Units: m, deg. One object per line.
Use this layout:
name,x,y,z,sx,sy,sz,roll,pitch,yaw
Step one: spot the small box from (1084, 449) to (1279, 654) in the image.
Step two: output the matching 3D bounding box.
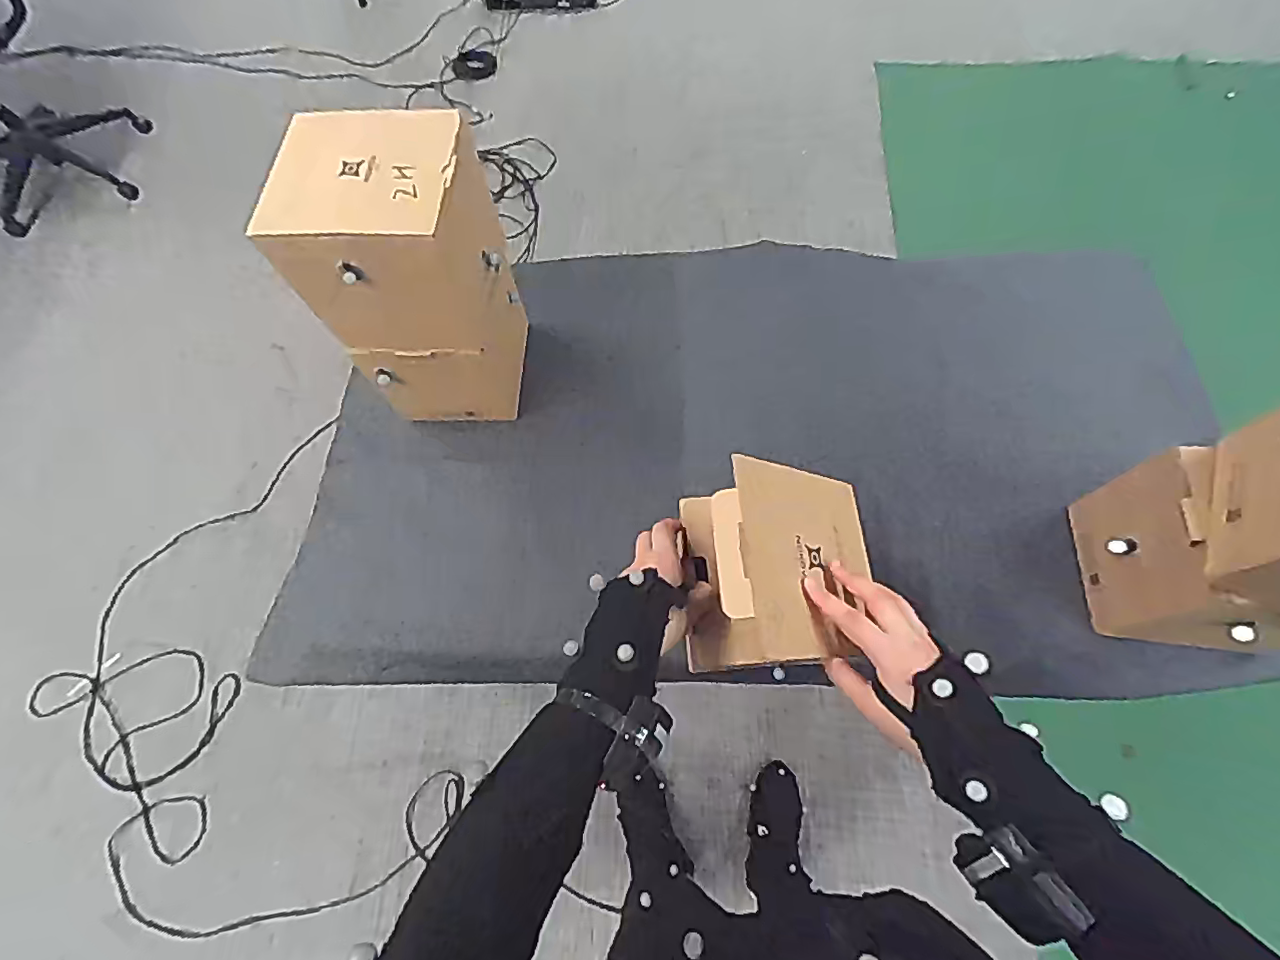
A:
small box,0.622,0.083,0.579,0.179,0.176,0.168,6,65,6

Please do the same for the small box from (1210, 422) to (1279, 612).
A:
small box,0.618,0.030,0.423,0.179,0.176,0.168,26,69,13

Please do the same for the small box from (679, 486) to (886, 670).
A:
small box,0.136,0.116,0.590,0.179,0.176,0.168,-5,71,1

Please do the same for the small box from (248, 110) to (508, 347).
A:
small box,-0.258,-0.259,0.581,0.179,0.176,0.168,1,69,2
